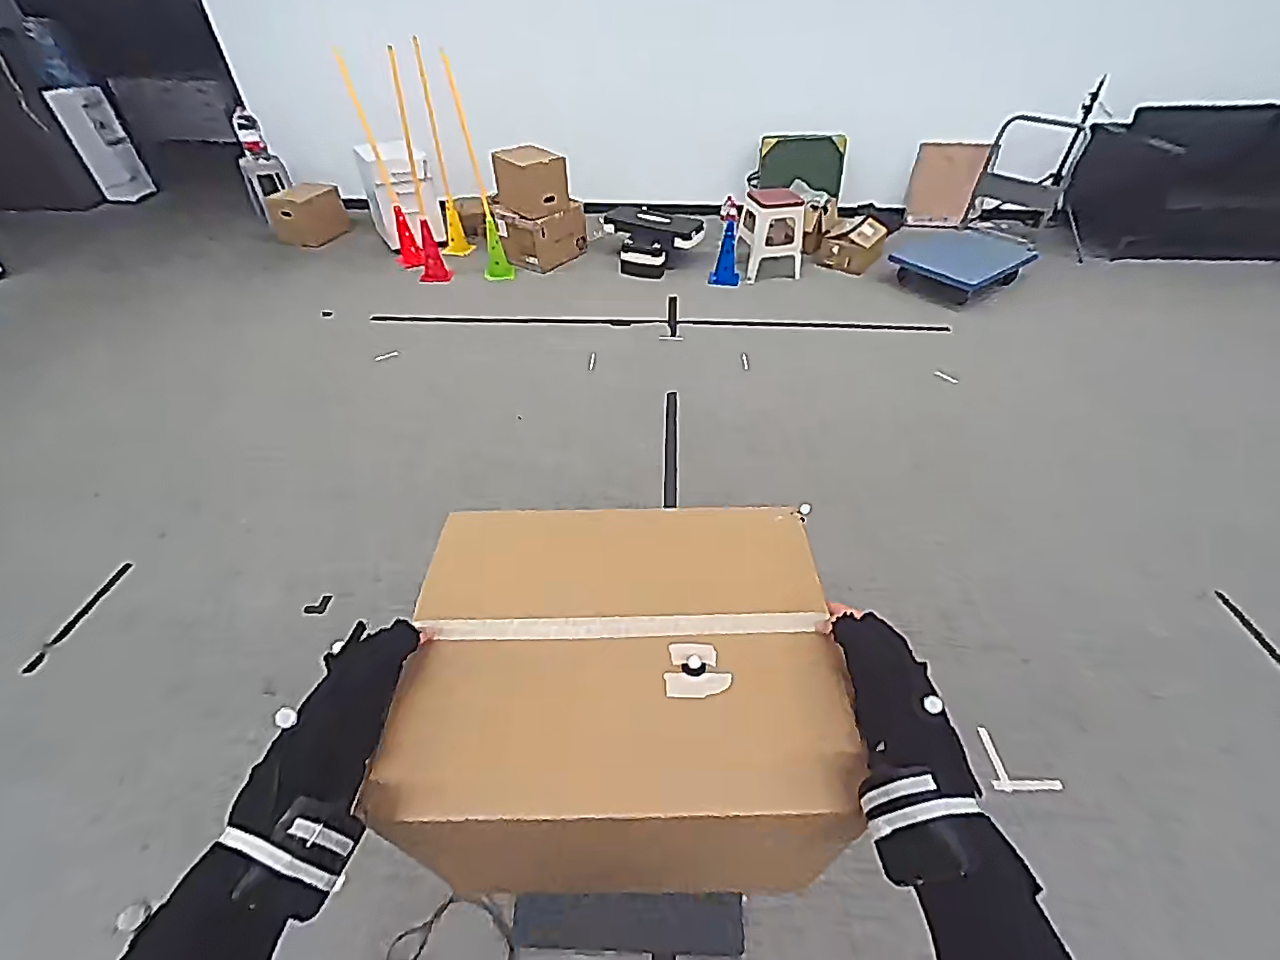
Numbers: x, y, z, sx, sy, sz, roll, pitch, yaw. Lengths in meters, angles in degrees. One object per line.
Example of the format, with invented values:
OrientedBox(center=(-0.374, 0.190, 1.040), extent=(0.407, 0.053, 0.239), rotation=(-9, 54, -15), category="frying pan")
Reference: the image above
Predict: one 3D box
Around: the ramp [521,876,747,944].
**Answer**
OrientedBox(center=(0.002, 0.577, 1.442), extent=(0.509, 0.206, 0.991), rotation=(1, 44, -1), category="ramp")

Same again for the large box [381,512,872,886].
OrientedBox(center=(-0.012, 0.255, 0.638), extent=(0.408, 0.320, 0.320), rotation=(-1, 44, 0), category="large box")
